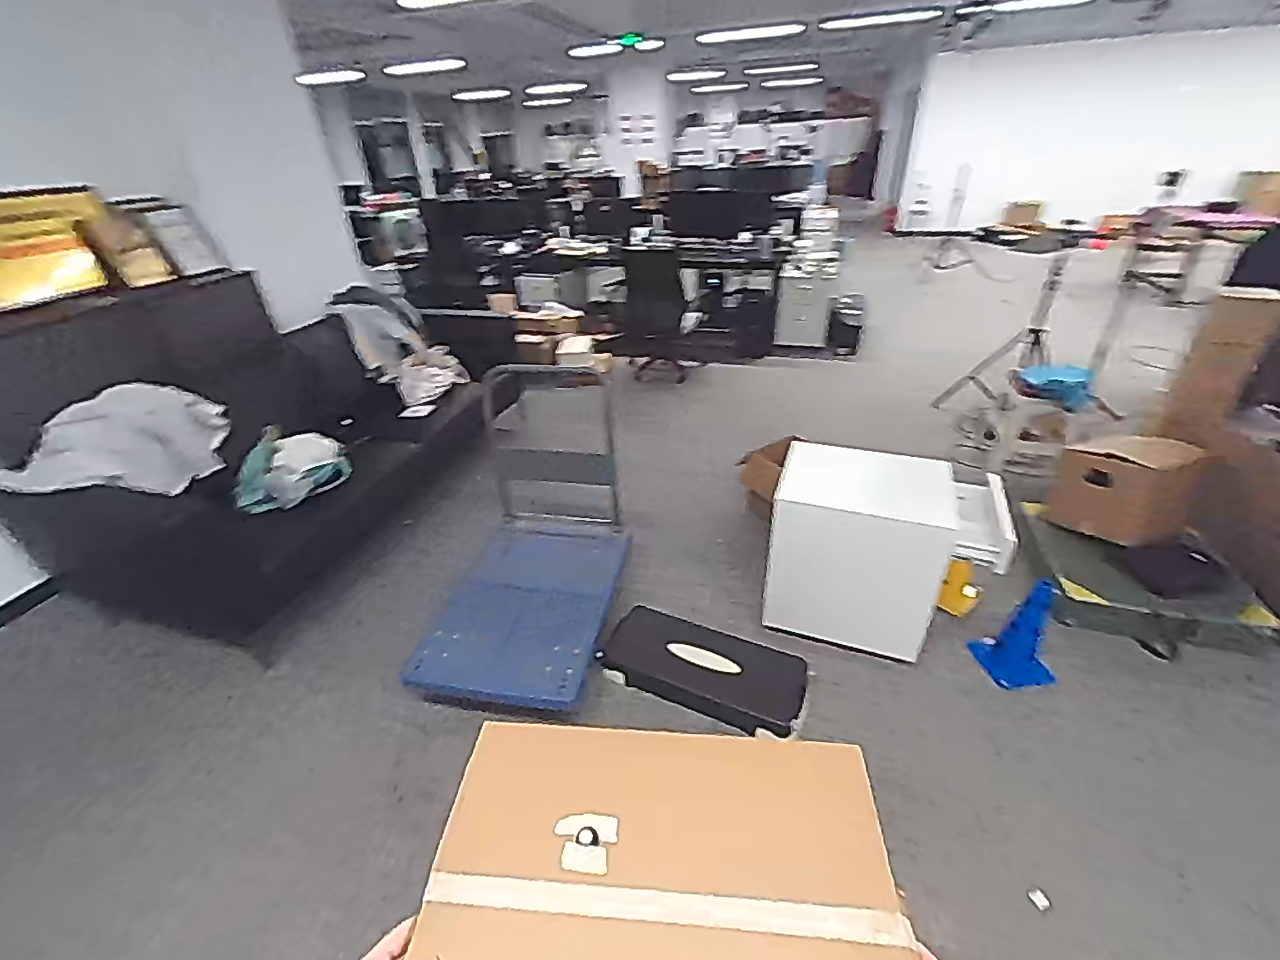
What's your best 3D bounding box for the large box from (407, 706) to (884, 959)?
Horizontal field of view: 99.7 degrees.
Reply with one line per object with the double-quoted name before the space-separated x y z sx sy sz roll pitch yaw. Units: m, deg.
"large box" 0.028 0.477 0.580 0.408 0.320 0.320 4 51 17
